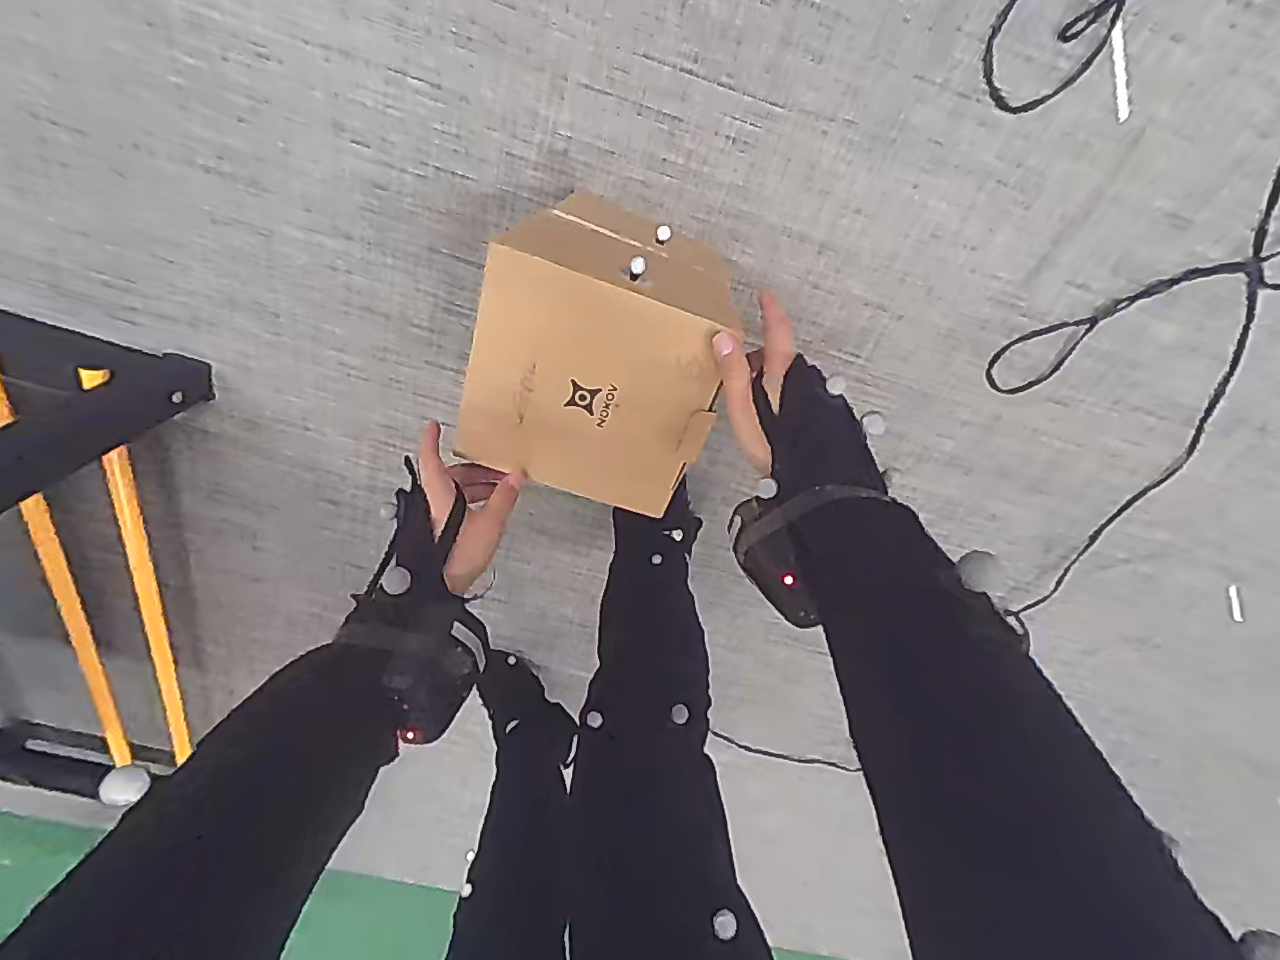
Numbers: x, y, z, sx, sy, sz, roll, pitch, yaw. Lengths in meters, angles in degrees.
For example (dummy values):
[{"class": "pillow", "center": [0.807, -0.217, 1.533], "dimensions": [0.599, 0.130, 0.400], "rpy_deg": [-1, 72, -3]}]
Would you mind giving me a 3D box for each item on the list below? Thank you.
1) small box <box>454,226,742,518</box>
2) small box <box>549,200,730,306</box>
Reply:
[{"class": "small box", "center": [-0.033, -0.100, 0.459], "dimensions": [0.179, 0.176, 0.168], "rpy_deg": [18, 120, -7]}, {"class": "small box", "center": [-0.022, -0.189, 0.595], "dimensions": [0.179, 0.176, 0.168], "rpy_deg": [18, 121, -9]}]
